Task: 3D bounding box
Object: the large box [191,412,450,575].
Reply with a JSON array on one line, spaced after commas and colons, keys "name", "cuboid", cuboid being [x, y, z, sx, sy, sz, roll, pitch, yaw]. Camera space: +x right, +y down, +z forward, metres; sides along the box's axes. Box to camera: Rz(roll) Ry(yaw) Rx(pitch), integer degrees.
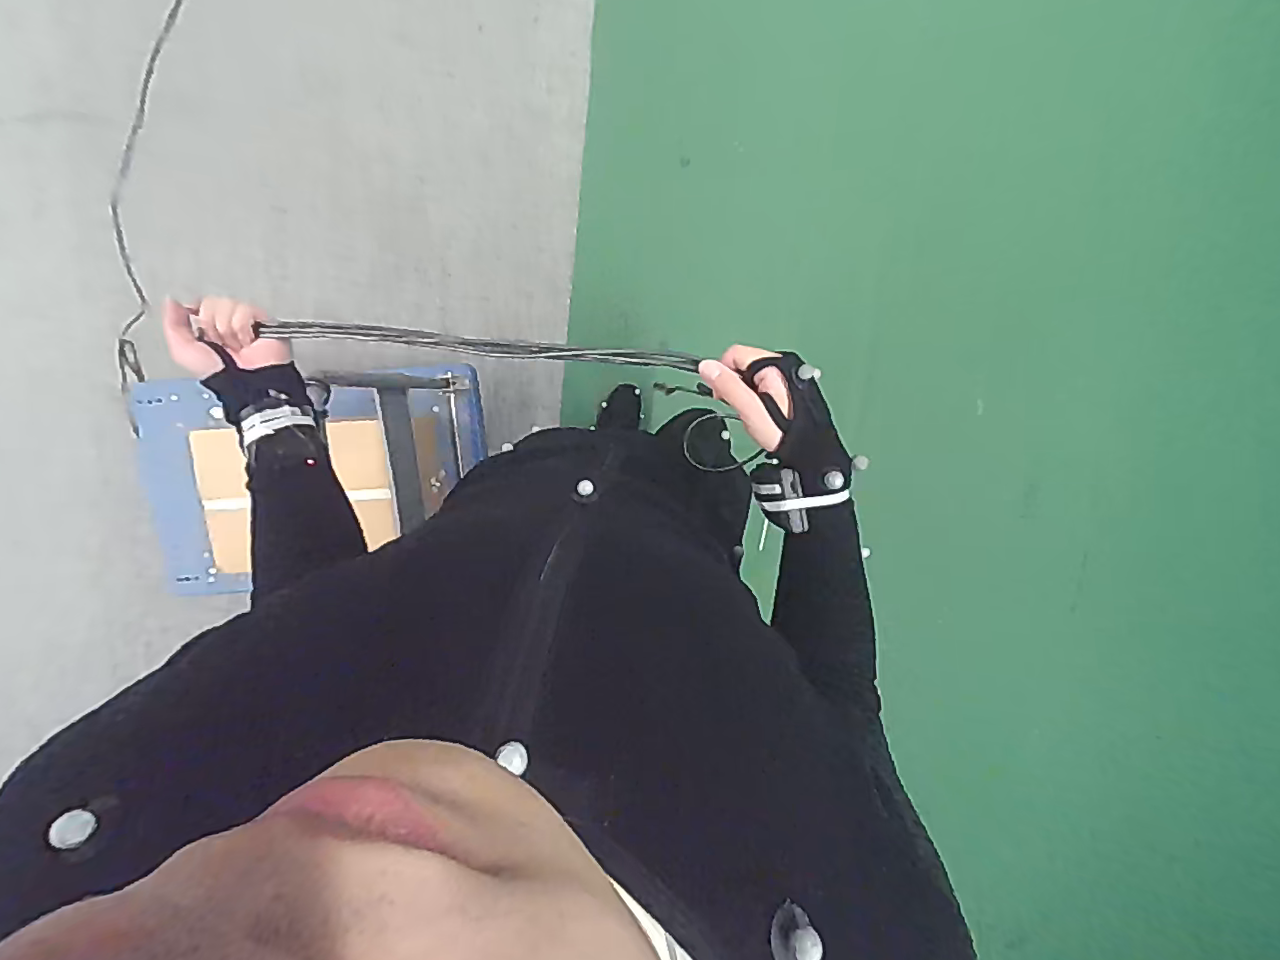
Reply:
[{"name": "large box", "cuboid": [-0.710, 0.014, 1.273, 0.408, 0.320, 0.320, -3, 99, 0]}]
